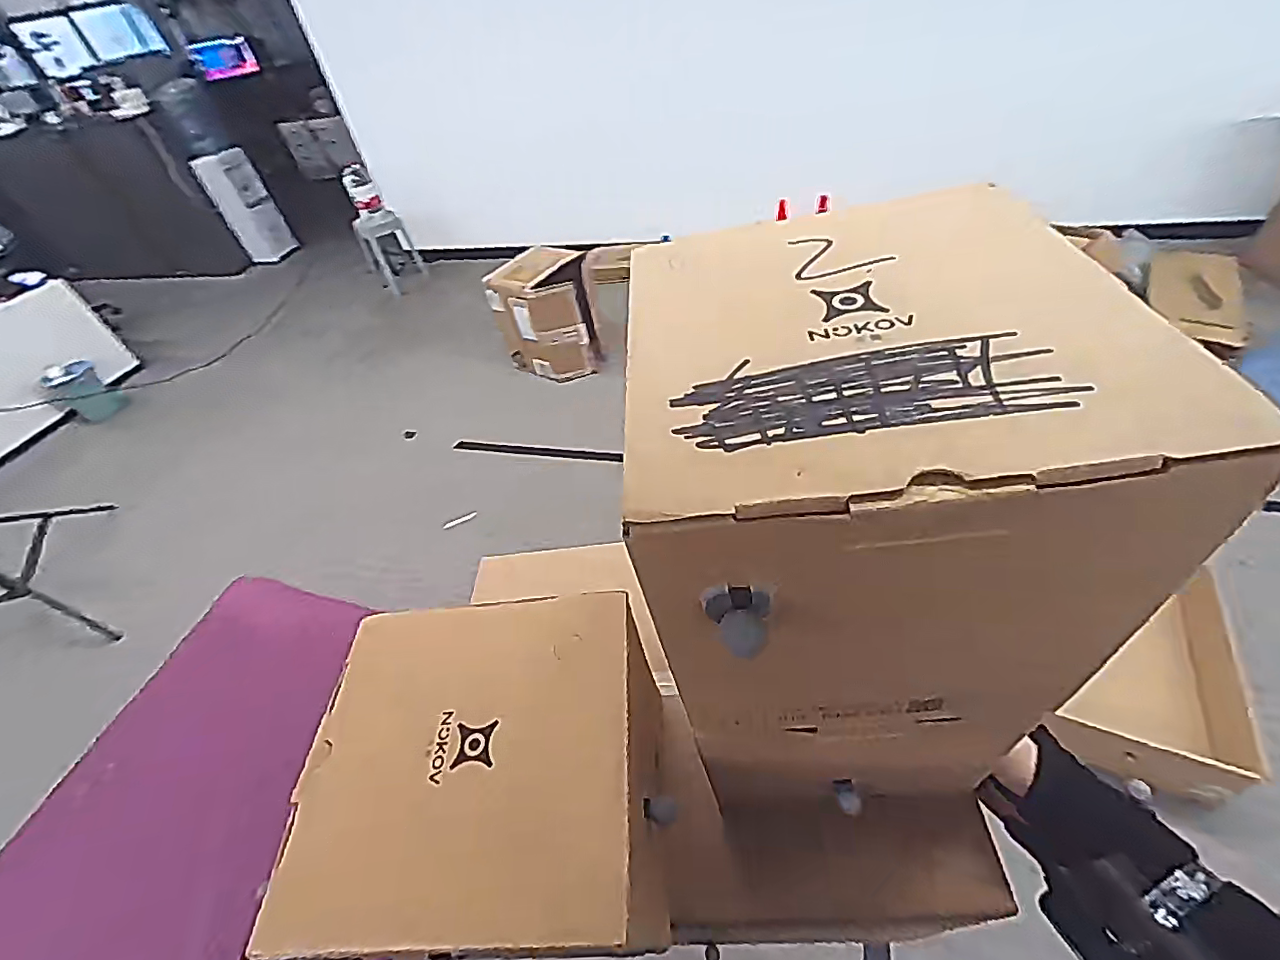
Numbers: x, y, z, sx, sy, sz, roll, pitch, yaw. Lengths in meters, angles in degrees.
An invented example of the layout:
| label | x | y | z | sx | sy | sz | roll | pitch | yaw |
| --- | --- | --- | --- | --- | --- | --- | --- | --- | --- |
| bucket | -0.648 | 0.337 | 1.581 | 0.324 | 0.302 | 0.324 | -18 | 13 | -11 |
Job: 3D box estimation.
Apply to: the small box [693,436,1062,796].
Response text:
| label | x | y | z | sx | sy | sz | roll | pitch | yaw |
| --- | --- | --- | --- | --- | --- | --- | --- | --- | --- |
| small box | 0.129 | 0.096 | 0.371 | 0.168 | 0.176 | 0.179 | -7 | 47 | 9 |

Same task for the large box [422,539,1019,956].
| label | x | y | z | sx | sy | sz | roll | pitch | yaw |
| --- | --- | --- | --- | --- | --- | --- | --- | --- | --- |
| large box | 0.066 | 0.275 | 0.561 | 0.408 | 0.320 | 0.320 | -8 | 45 | 7 |
